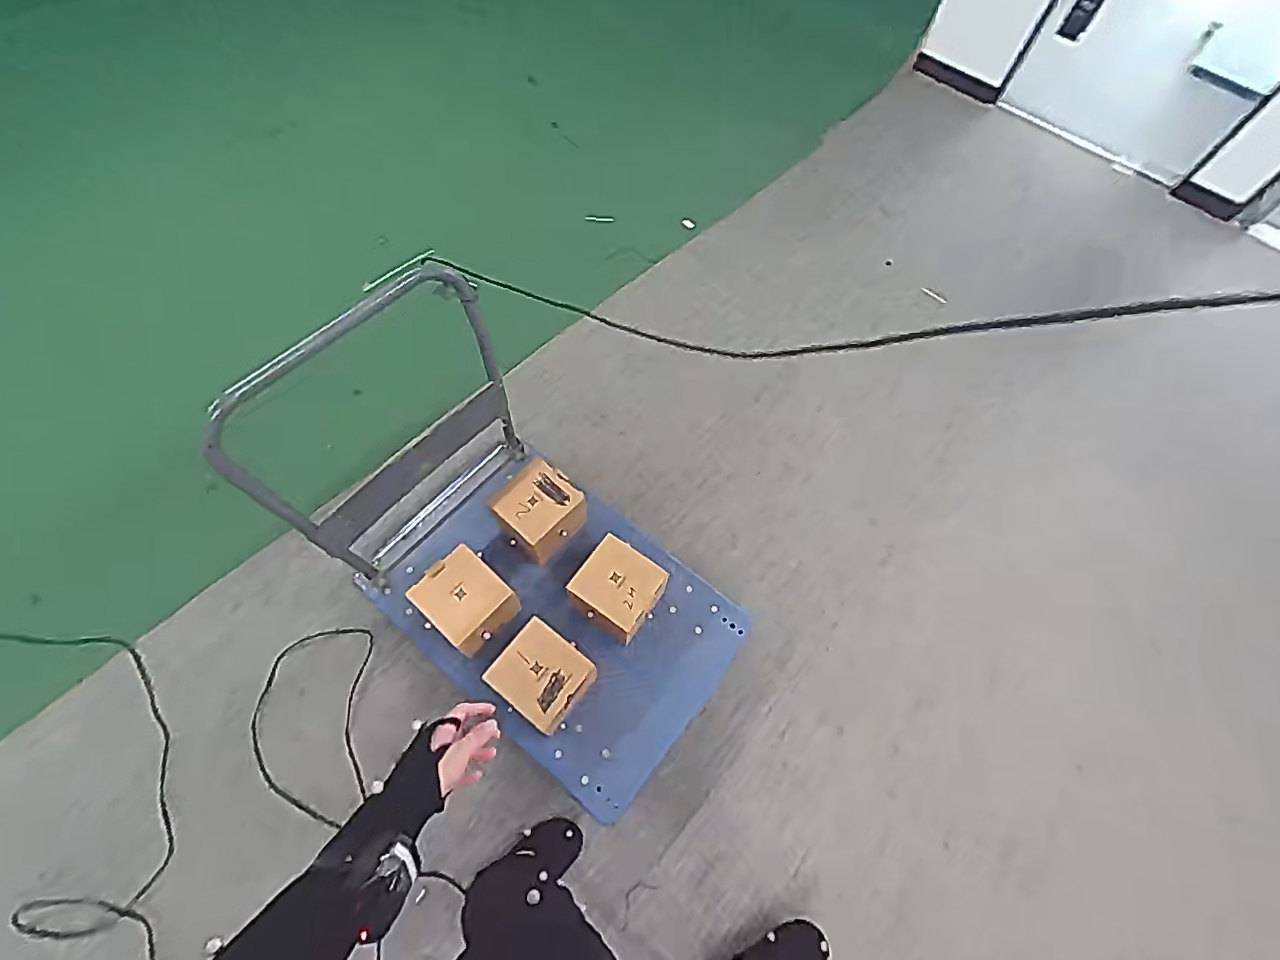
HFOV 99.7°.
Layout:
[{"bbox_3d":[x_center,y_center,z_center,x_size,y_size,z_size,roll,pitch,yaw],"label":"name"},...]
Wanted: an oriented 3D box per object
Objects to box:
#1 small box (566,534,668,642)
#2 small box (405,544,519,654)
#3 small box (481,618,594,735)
[{"bbox_3d":[-0.055,0.264,1.288,0.179,0.176,0.168,34,67,13],"label":"small box"},{"bbox_3d":[-0.403,0.284,1.258,0.179,0.176,0.168,39,67,16],"label":"small box"},{"bbox_3d":[-0.216,0.436,1.191,0.179,0.176,0.168,36,66,14],"label":"small box"}]
